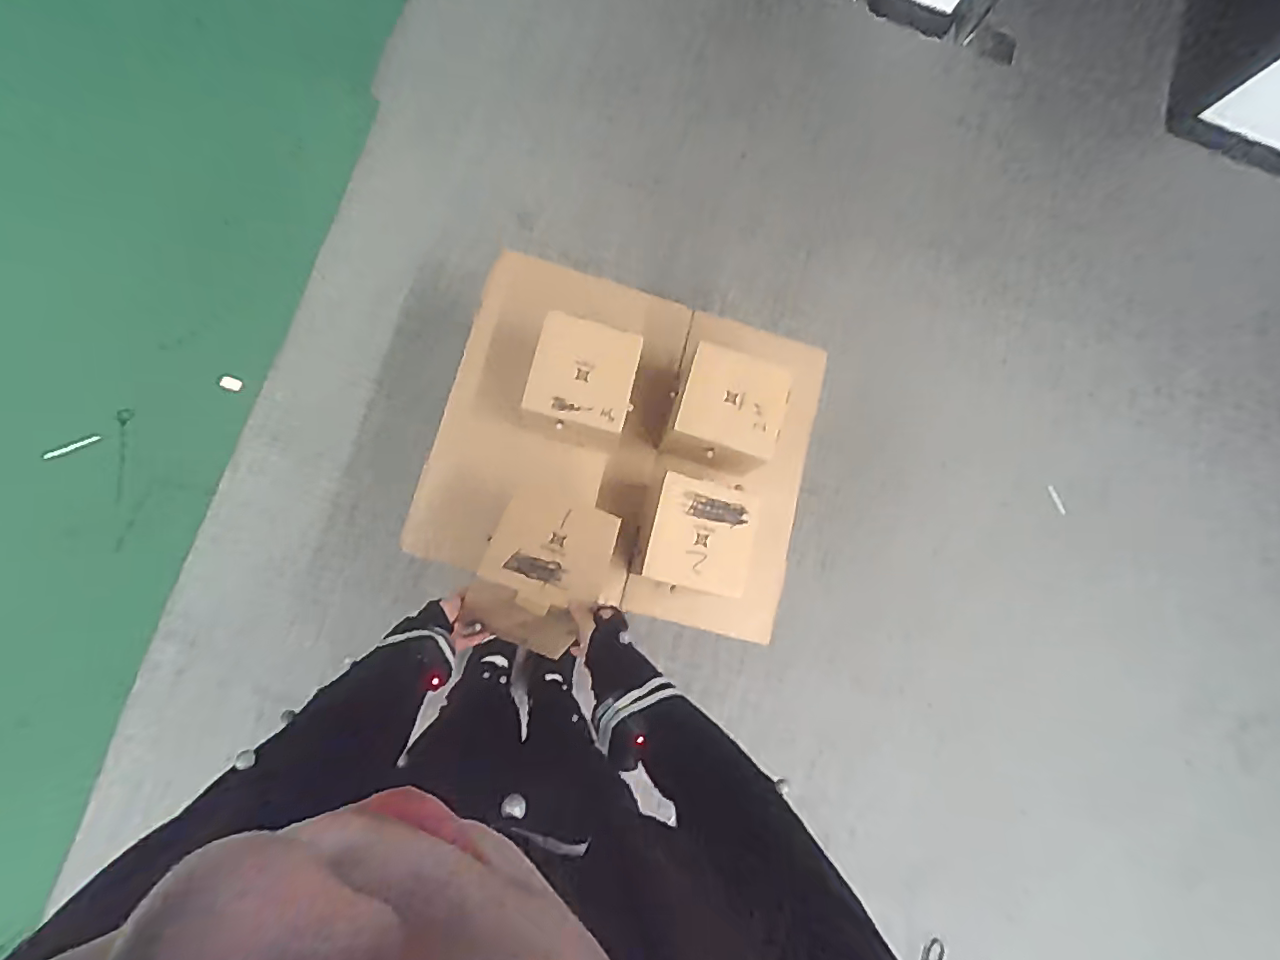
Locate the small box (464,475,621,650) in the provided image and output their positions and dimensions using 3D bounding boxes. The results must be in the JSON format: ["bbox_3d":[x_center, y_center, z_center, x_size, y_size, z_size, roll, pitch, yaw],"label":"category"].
[{"bbox_3d":[-0.150,0.131,0.813,0.168,0.176,0.179,25,47,-10],"label":"small box"}]

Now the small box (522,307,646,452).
[{"bbox_3d":[-0.098,-0.165,0.943,0.168,0.176,0.179,14,79,-4],"label":"small box"}]
